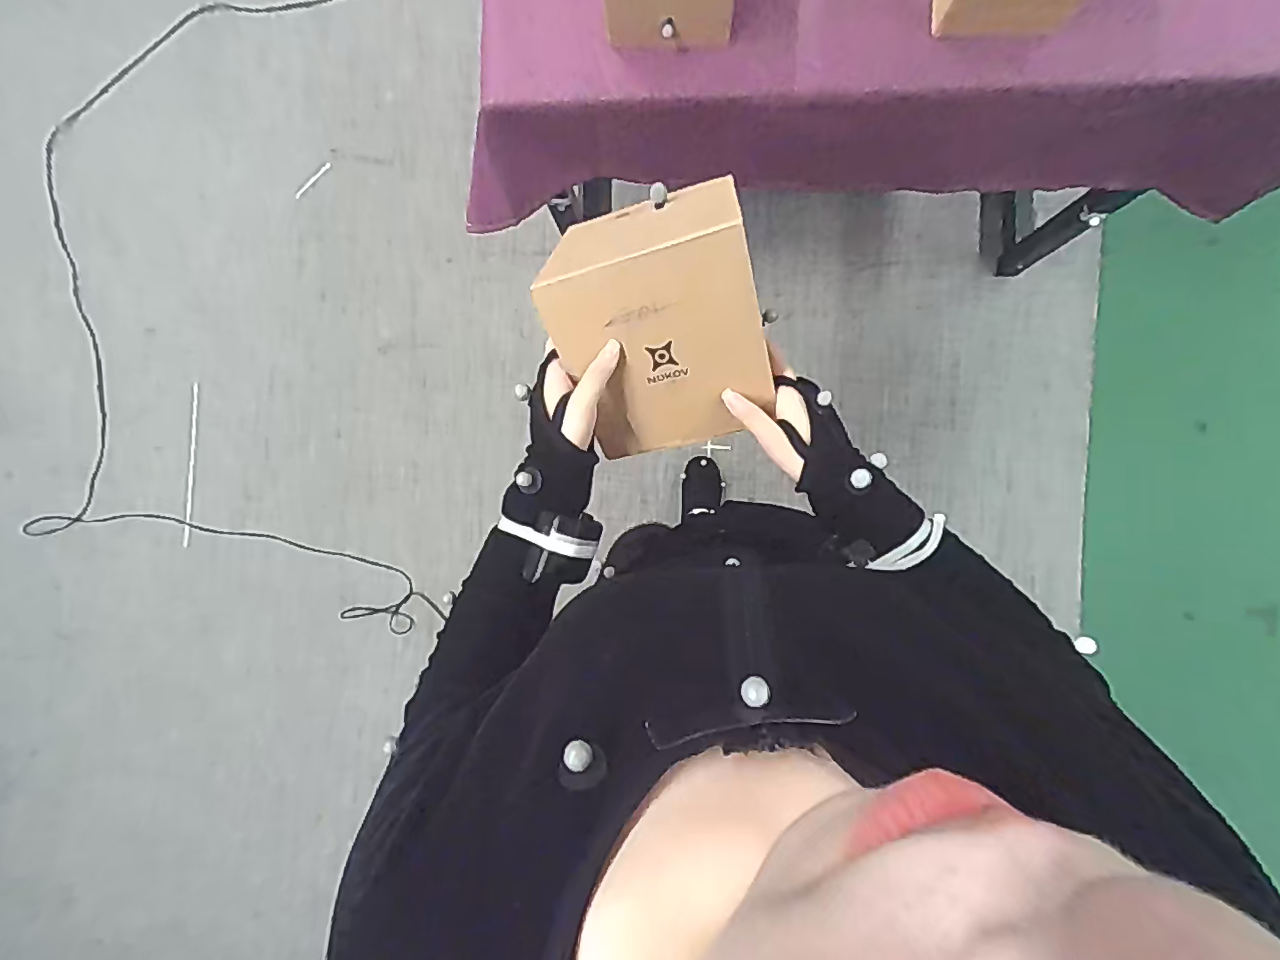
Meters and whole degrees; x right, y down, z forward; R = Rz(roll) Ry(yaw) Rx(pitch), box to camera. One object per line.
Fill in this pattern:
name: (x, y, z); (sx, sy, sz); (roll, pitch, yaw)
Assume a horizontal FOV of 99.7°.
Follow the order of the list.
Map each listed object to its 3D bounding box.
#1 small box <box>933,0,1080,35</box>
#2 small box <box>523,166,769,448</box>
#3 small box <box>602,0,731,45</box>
small box: (0.491, -0.700, 0.672); (0.179, 0.176, 0.168); (4, 89, 4)
small box: (0.020, -0.158, 0.500); (0.168, 0.176, 0.179); (-11, 128, 15)
small box: (0.039, -0.712, 0.704); (0.179, 0.176, 0.168); (3, 88, 4)
